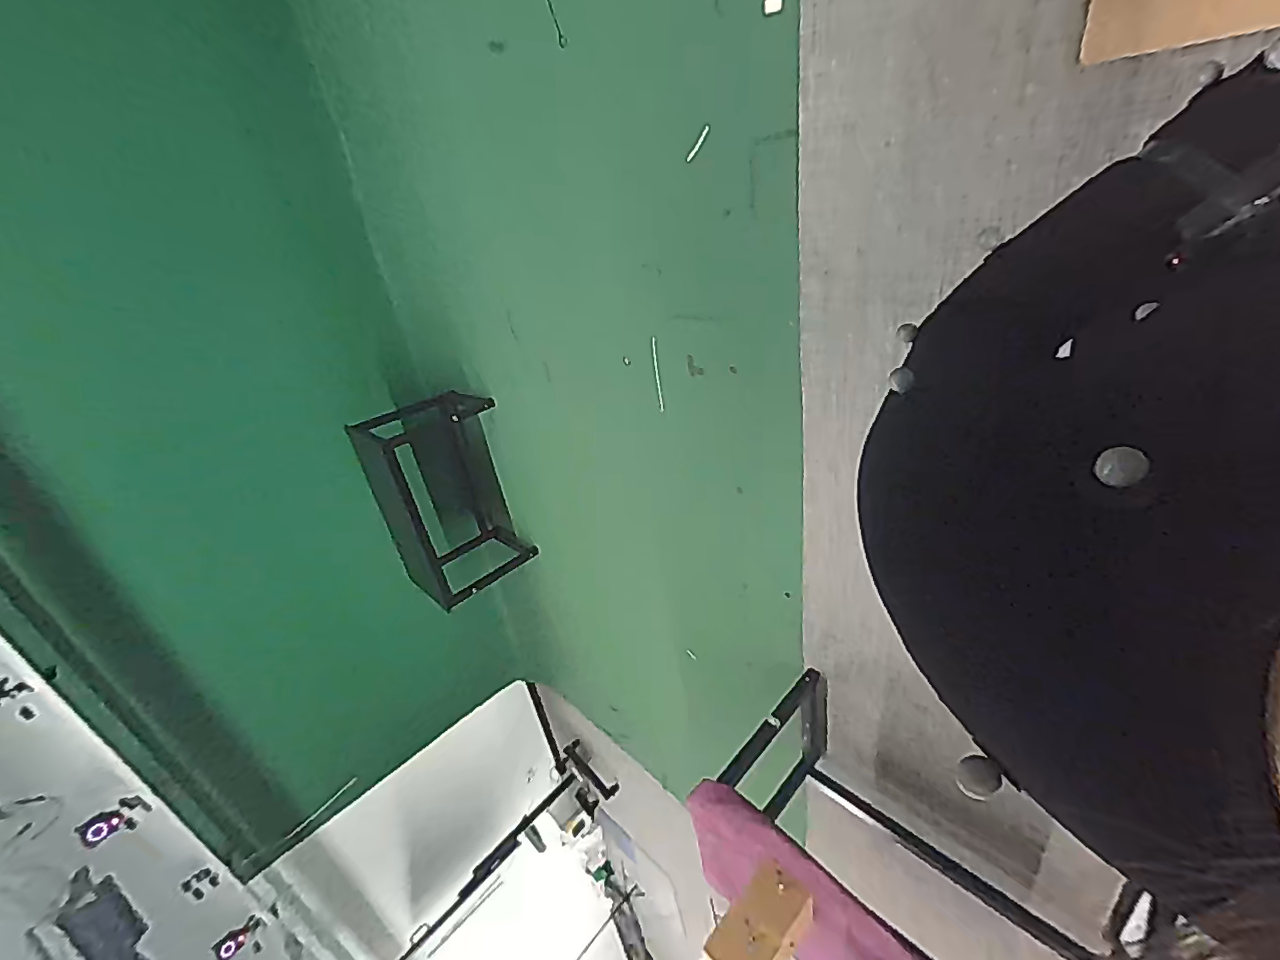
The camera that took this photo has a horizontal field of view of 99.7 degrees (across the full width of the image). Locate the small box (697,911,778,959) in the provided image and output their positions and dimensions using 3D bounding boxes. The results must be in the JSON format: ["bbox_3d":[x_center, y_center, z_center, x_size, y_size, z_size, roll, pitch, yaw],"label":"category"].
[{"bbox_3d":[0.285,1.411,1.557,0.168,0.176,0.179,19,128,42],"label":"small box"}]

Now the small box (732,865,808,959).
[{"bbox_3d":[0.399,1.338,1.647,0.168,0.176,0.179,19,128,42],"label":"small box"}]
